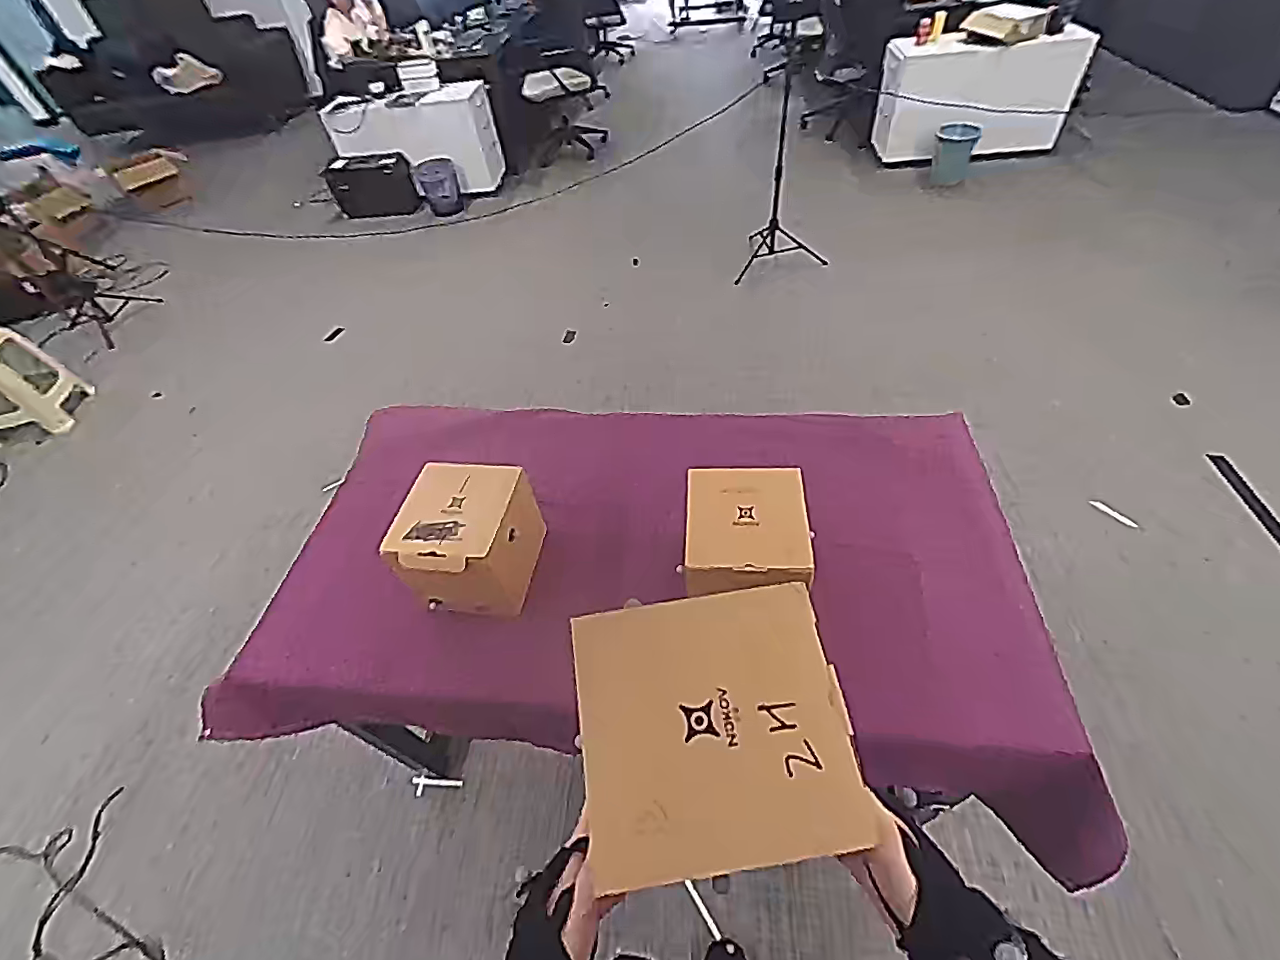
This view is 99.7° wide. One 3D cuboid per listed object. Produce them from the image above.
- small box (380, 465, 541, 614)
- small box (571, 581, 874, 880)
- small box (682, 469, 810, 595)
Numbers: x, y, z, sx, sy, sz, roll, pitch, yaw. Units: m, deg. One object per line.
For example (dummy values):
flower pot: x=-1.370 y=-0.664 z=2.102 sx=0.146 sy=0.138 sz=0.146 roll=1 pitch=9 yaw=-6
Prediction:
small box: x=-0.268 y=0.096 z=0.862 sx=0.168 sy=0.176 sz=0.179 roll=3 pitch=49 yaw=9
small box: x=0.049 y=0.194 z=0.428 sx=0.179 sy=0.176 sz=0.168 roll=-8 pitch=62 yaw=-2
small box: x=0.151 y=0.102 z=0.803 sx=0.168 sy=0.176 sz=0.179 roll=0 pitch=49 yaw=7
